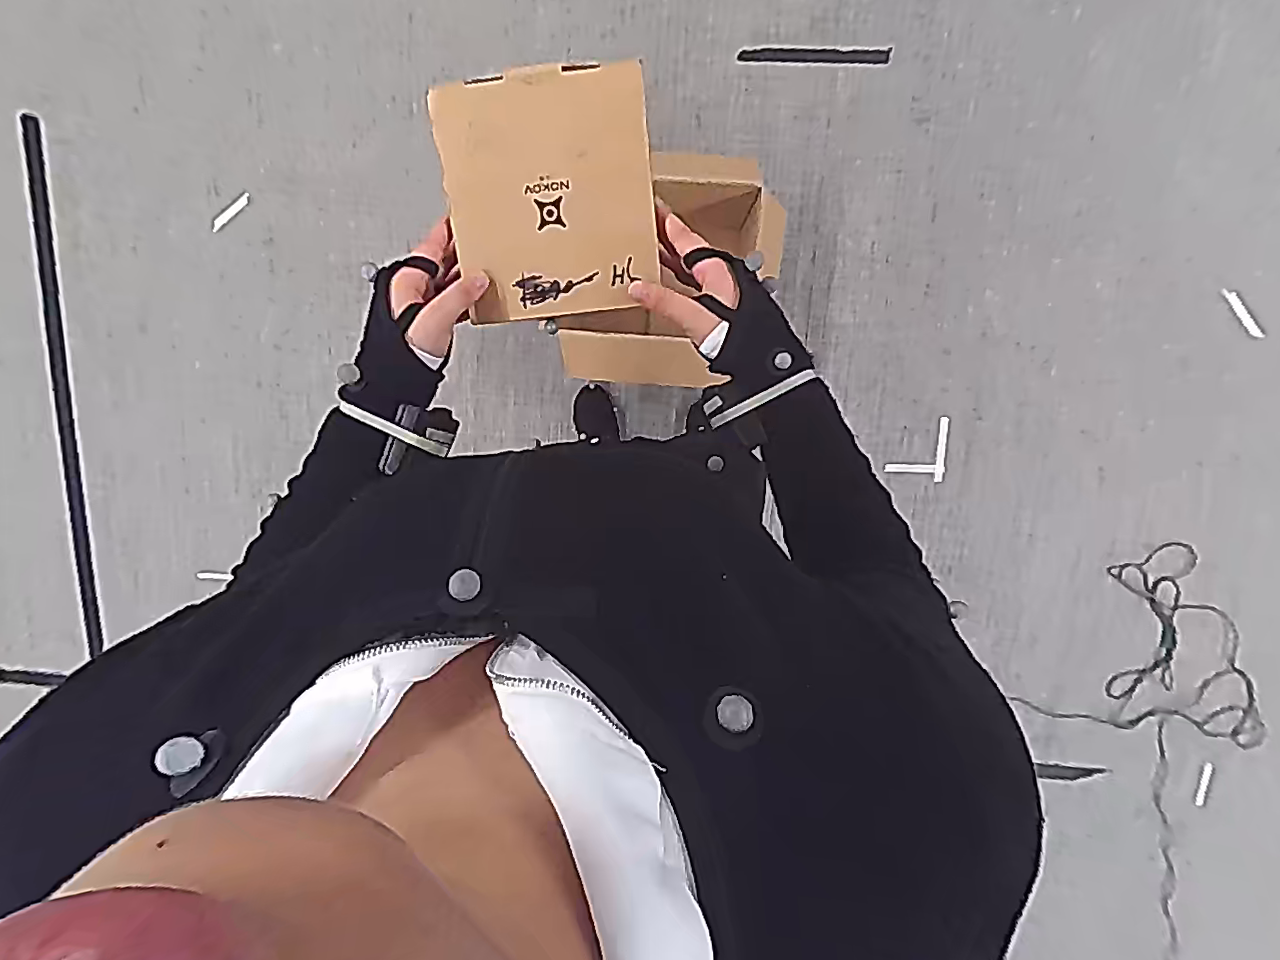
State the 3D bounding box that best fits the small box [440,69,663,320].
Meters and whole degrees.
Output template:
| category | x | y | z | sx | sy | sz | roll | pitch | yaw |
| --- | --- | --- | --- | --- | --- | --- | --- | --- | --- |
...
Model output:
| category | x | y | z | sx | sy | sz | roll | pitch | yaw |
| --- | --- | --- | --- | --- | --- | --- | --- | --- | --- |
| small box | -0.067 | -0.250 | 0.515 | 0.168 | 0.176 | 0.179 | -4 | 108 | 4 |
